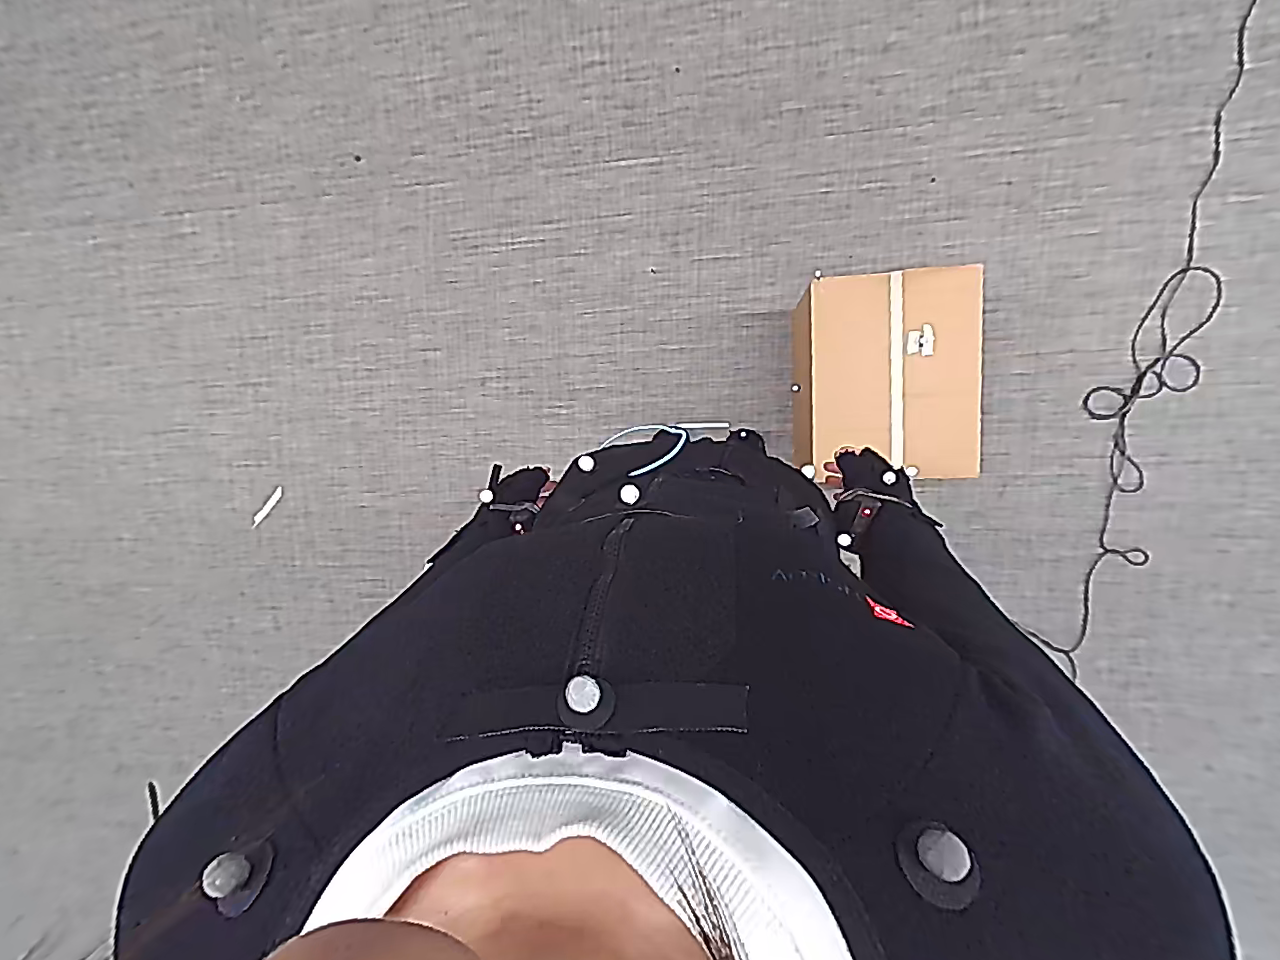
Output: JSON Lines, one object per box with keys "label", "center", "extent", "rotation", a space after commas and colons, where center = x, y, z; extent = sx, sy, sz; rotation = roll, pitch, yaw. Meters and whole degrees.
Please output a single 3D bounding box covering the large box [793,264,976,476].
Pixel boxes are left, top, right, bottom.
{"label": "large box", "center": [0.524, -0.223, 1.219], "extent": [0.320, 0.320, 0.408], "rotation": [-2, 95, 8]}
